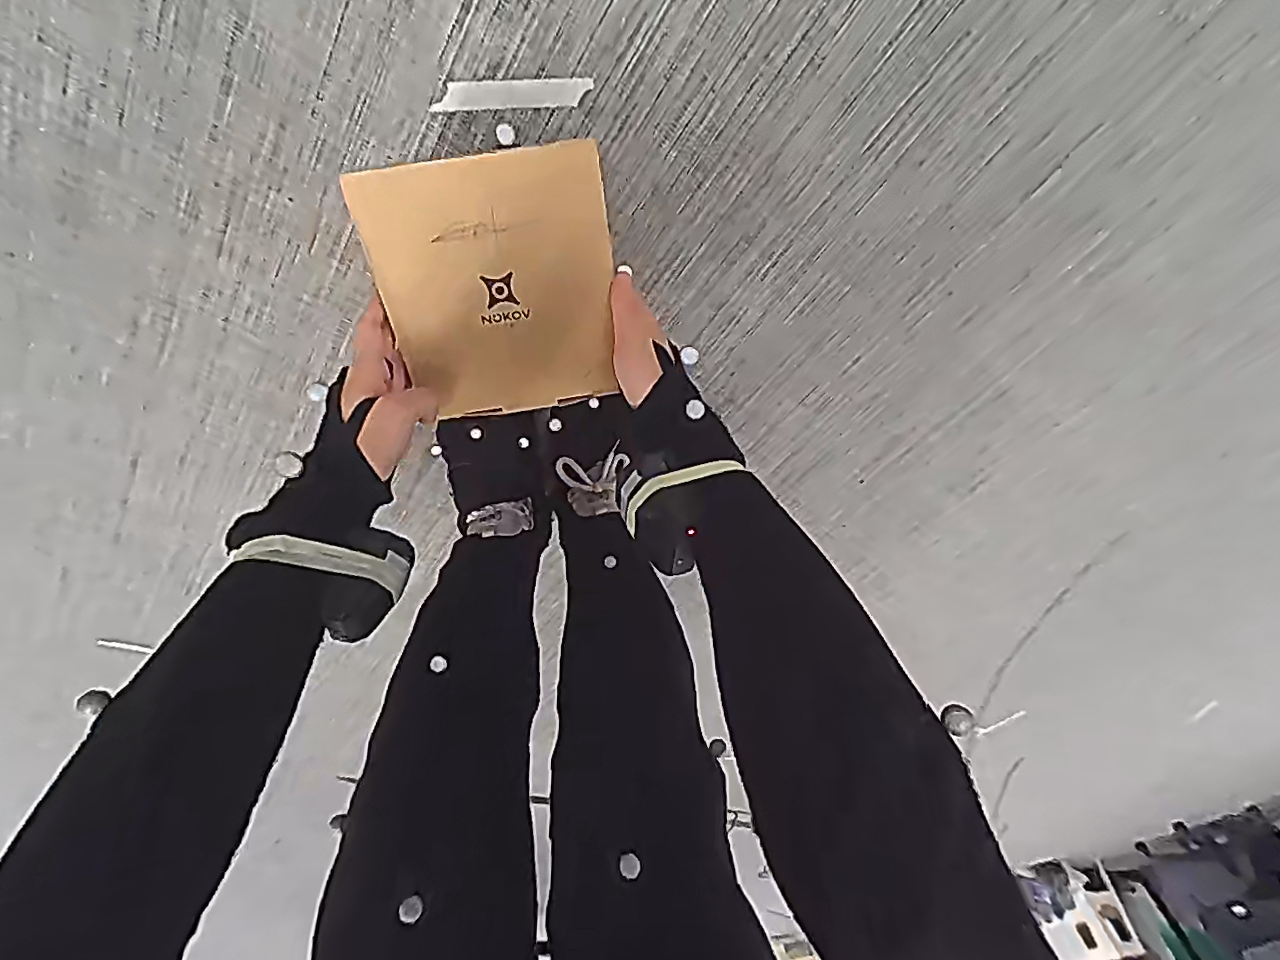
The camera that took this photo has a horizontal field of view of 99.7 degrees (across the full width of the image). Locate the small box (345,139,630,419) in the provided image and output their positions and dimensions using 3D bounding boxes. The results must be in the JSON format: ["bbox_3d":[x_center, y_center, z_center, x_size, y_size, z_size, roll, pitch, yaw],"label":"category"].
[{"bbox_3d":[-0.103,-0.174,0.452,0.168,0.176,0.179,-9,122,-2],"label":"small box"}]
